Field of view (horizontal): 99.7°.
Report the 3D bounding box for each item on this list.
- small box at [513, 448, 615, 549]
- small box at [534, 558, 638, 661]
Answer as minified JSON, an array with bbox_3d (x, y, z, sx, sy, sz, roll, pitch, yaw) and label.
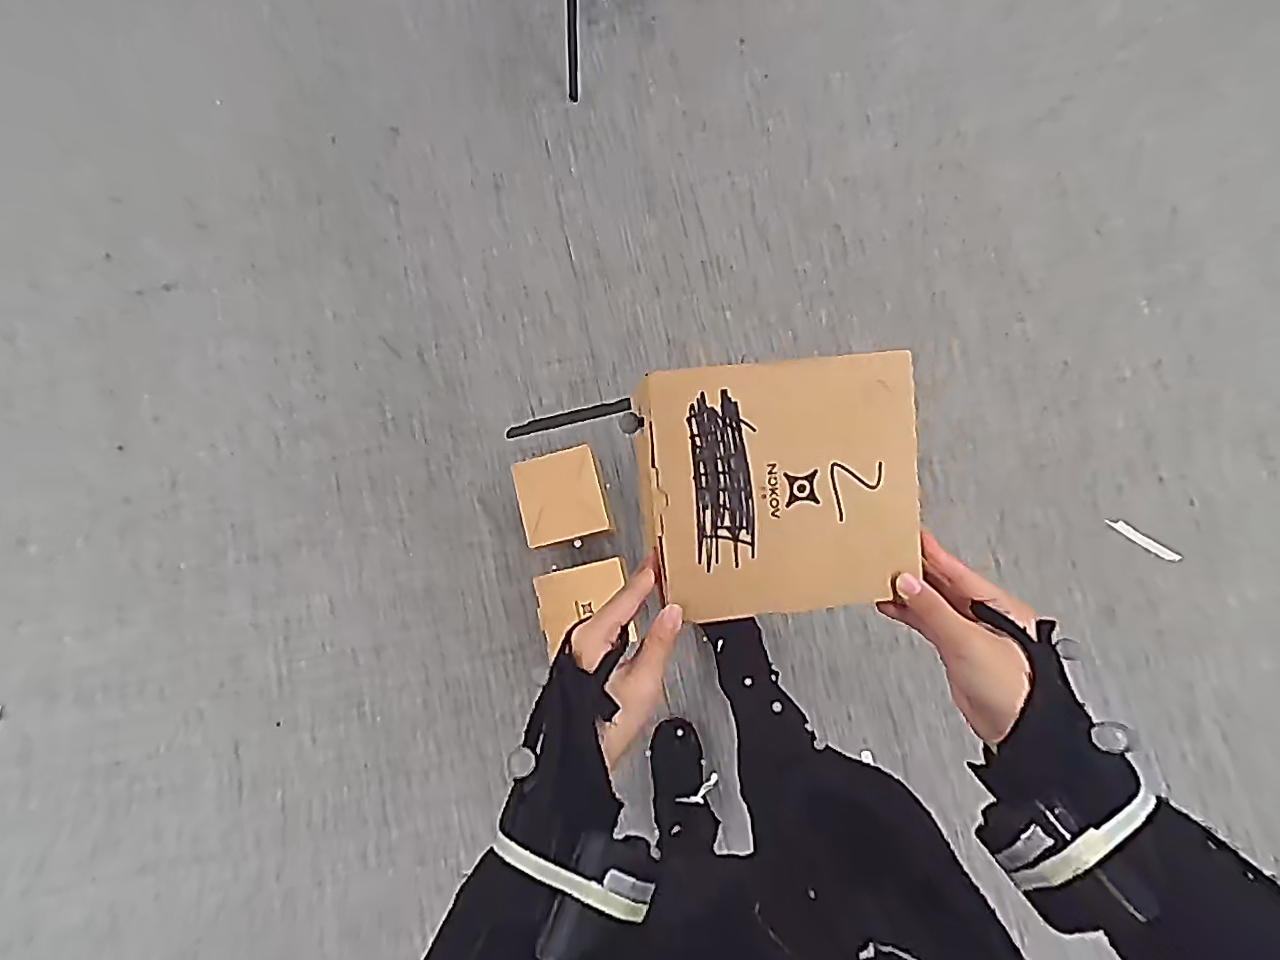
[{"bbox_3d":[-0.158,0.043,1.148,0.168,0.176,0.179,-15,82,1],"label":"small box"},{"bbox_3d":[-0.105,0.259,1.123,0.179,0.176,0.168,-13,82,1],"label":"small box"}]
